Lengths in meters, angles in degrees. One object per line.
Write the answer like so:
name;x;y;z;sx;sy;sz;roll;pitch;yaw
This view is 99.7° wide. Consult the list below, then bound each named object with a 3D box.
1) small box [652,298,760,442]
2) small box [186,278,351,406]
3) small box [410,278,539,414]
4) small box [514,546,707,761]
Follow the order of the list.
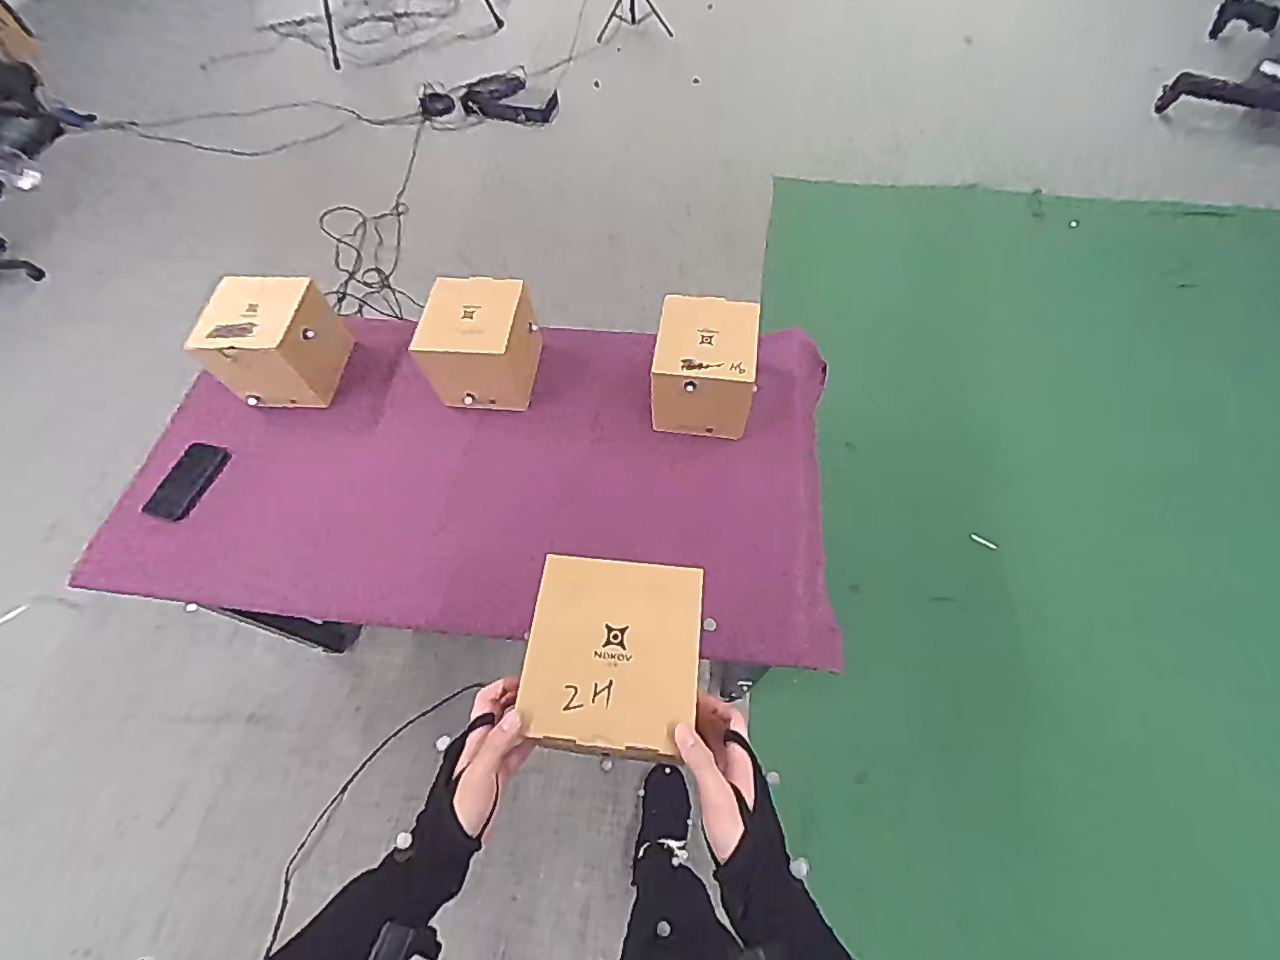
small box;0.113;-0.192;0.958;0.168;0.176;0.179;7;61;7
small box;-0.680;-0.255;1.018;0.168;0.176;0.179;2;60;2
small box;-0.292;-0.246;1.003;0.168;0.176;0.179;4;62;5
small box;-0.021;0.192;0.586;0.168;0.176;0.179;5;59;5
